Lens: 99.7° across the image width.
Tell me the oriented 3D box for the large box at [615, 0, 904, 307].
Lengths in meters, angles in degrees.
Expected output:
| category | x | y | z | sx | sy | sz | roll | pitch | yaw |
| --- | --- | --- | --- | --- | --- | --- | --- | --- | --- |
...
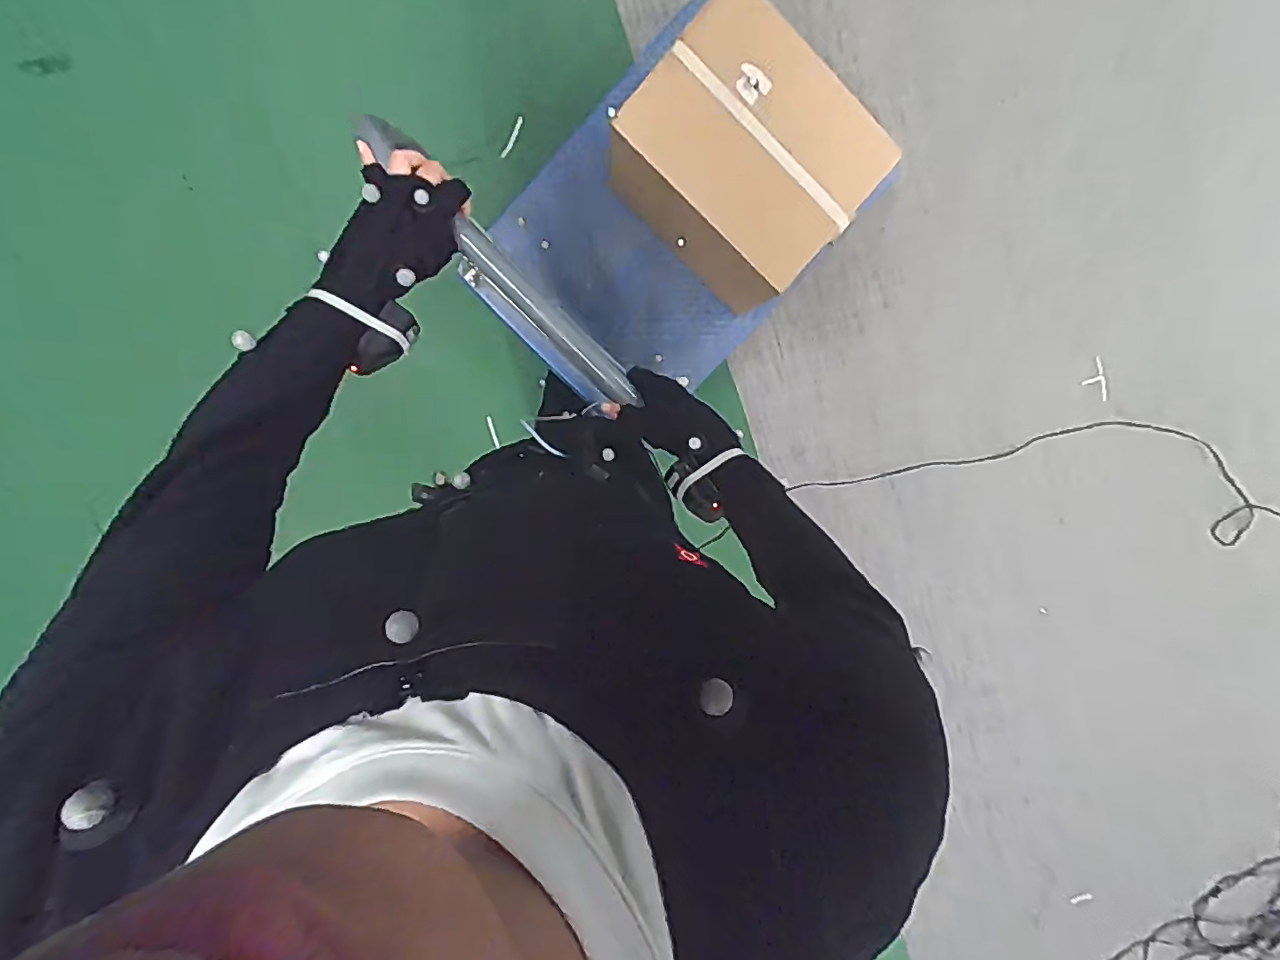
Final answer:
| category | x | y | z | sx | sy | sz | roll | pitch | yaw |
| --- | --- | --- | --- | --- | --- | --- | --- | --- | --- |
| large box | 0.200 | -0.605 | 1.053 | 0.408 | 0.320 | 0.320 | 41 | 95 | -8 |
